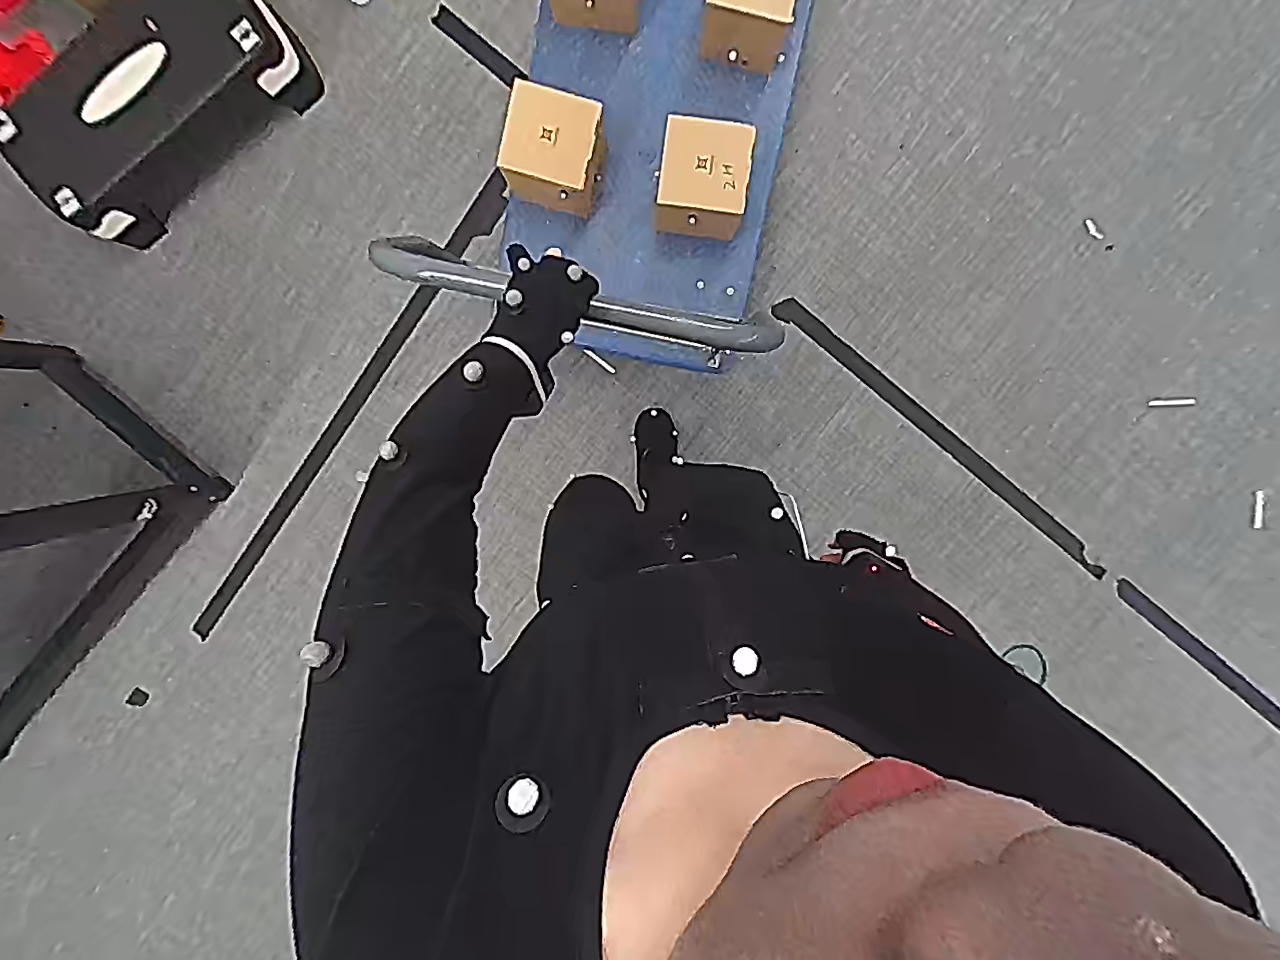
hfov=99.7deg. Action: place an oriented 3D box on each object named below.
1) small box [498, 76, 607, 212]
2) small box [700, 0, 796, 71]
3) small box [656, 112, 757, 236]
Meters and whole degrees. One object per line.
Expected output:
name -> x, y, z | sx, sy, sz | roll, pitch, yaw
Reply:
small box -> -0.174, -0.682, 1.121 | 0.179, 0.176, 0.168 | 15, 98, -3
small box -> 0.223, -0.973, 1.075 | 0.168, 0.176, 0.179 | 14, 99, -2
small box -> 0.129, -0.625, 1.125 | 0.179, 0.176, 0.168 | 8, 98, 0
